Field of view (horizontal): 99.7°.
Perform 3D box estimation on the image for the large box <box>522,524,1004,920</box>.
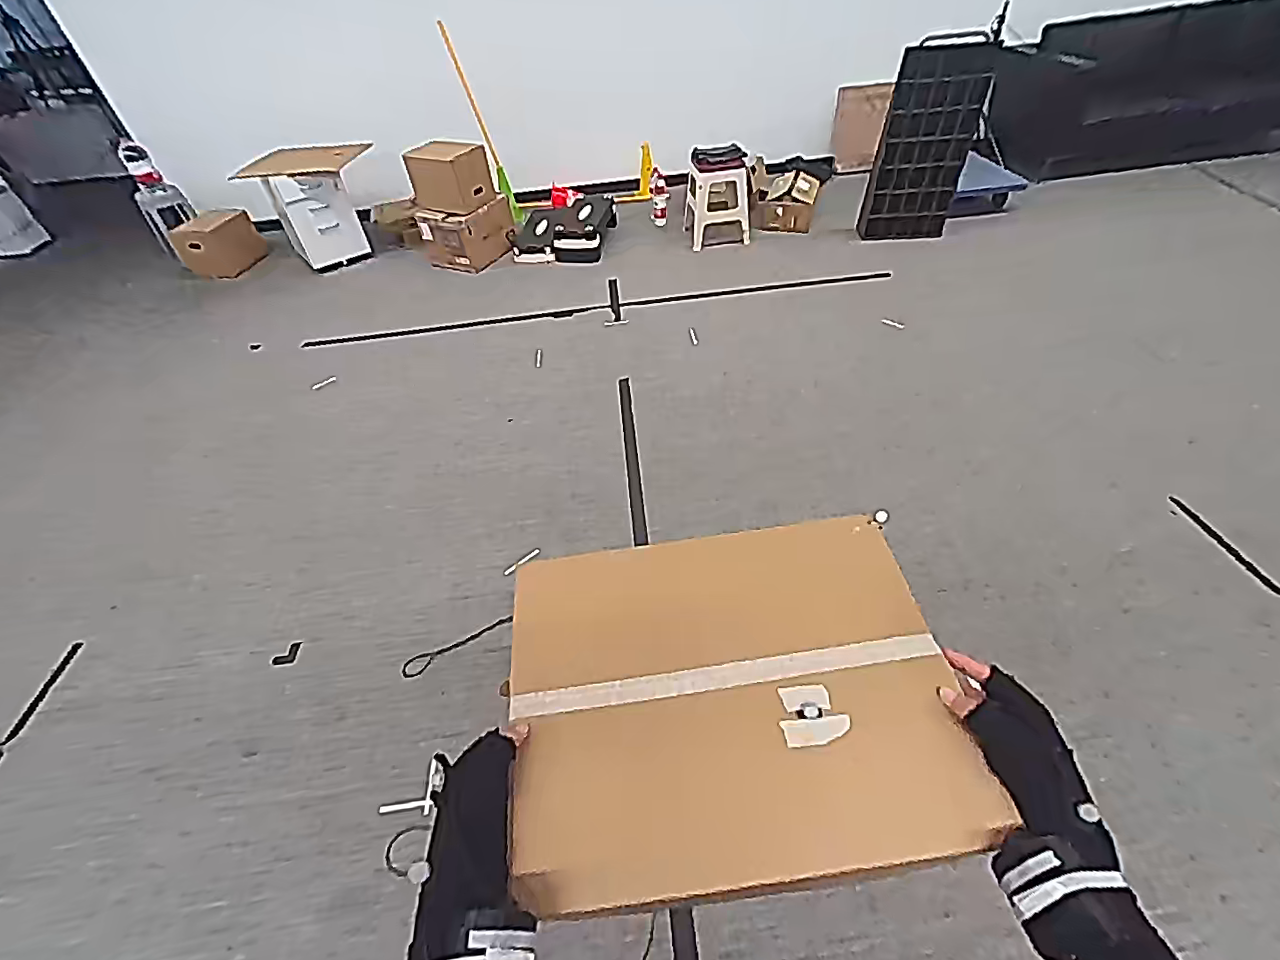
[{"bbox_3d":[0.092,0.290,0.639,0.408,0.320,0.320,-8,51,-1],"label":"large box"}]
